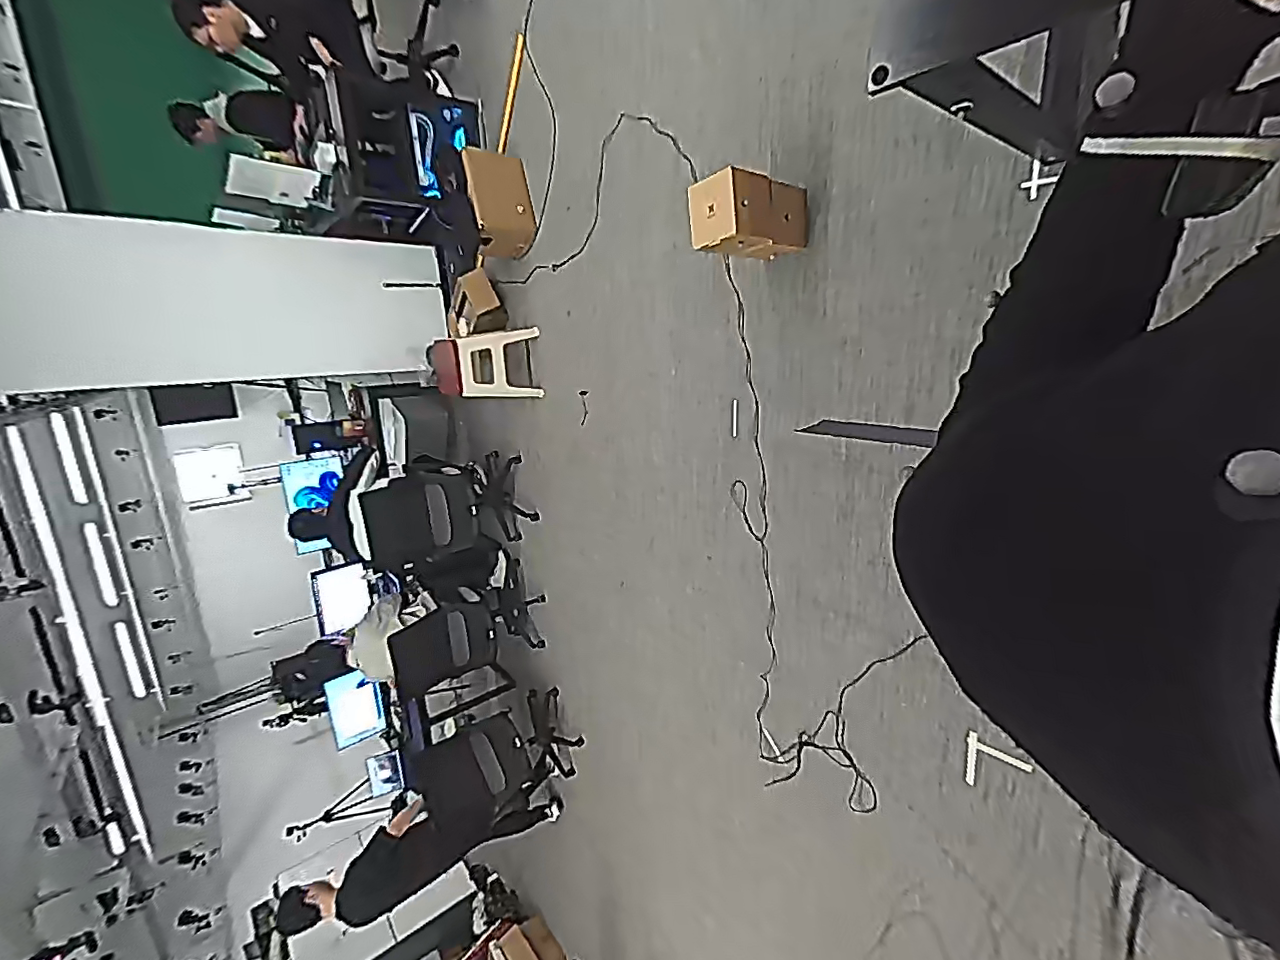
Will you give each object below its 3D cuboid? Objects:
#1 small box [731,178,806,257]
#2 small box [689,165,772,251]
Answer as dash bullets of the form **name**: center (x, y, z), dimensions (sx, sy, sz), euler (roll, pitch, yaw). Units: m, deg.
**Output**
- **small box**: center (0.389, -0.790, 1.644), dimensions (0.168, 0.176, 0.179), euler (10, 109, 50)
- **small box**: center (0.262, -0.766, 1.545), dimensions (0.168, 0.176, 0.179), euler (4, 103, 50)
